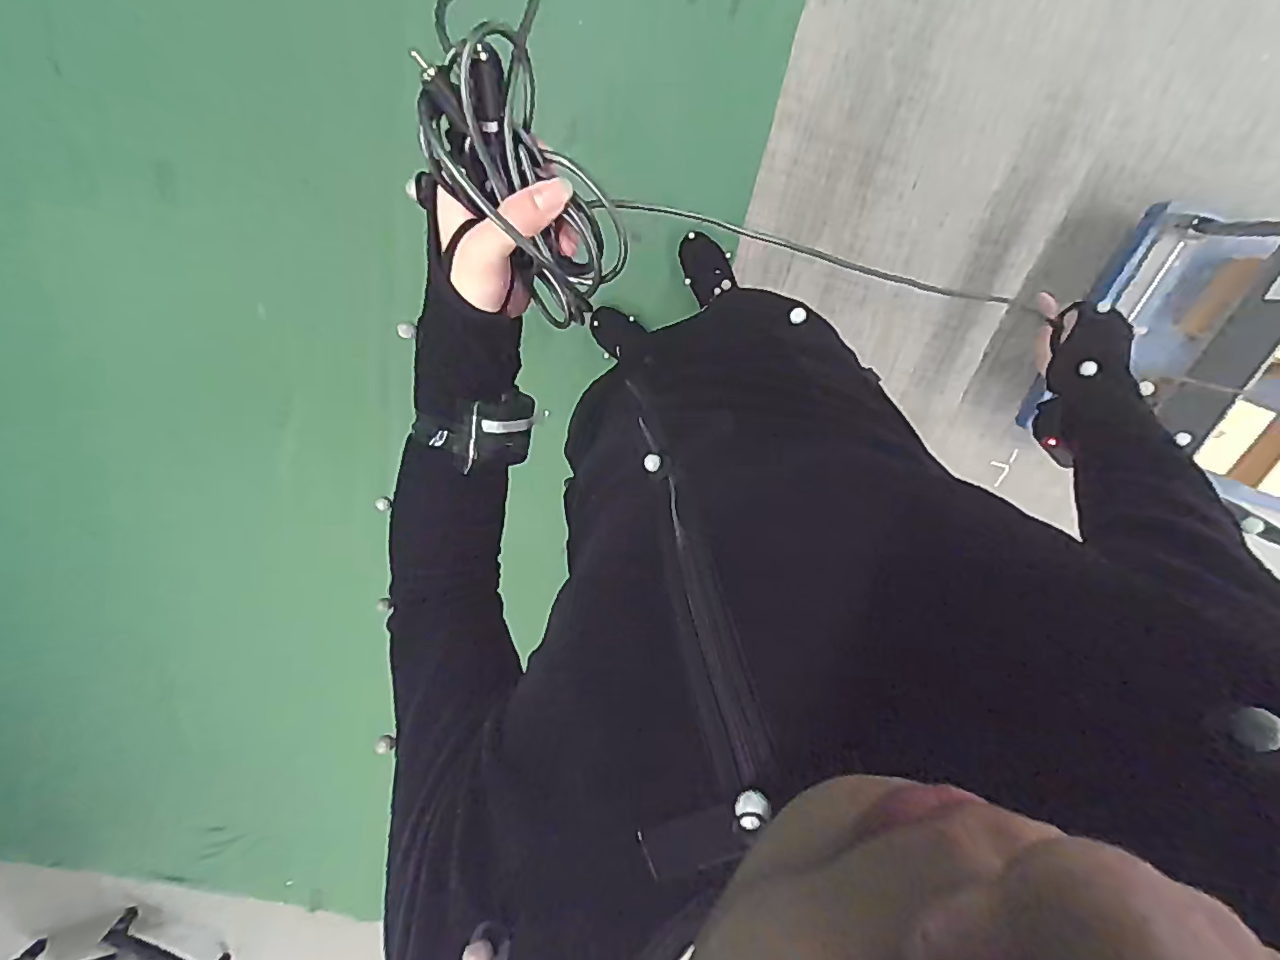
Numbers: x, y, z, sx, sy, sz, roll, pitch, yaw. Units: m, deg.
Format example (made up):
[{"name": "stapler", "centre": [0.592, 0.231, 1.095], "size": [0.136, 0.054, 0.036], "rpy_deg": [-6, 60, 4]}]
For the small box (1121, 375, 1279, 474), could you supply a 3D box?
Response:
[{"name": "small box", "centre": [1.350, -0.141, 1.312], "size": [0.179, 0.176, 0.168], "rpy_deg": [17, 114, -5]}]

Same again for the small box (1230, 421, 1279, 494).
[{"name": "small box", "centre": [1.600, -0.060, 1.338], "size": [0.179, 0.176, 0.168], "rpy_deg": [15, 113, -4]}]
